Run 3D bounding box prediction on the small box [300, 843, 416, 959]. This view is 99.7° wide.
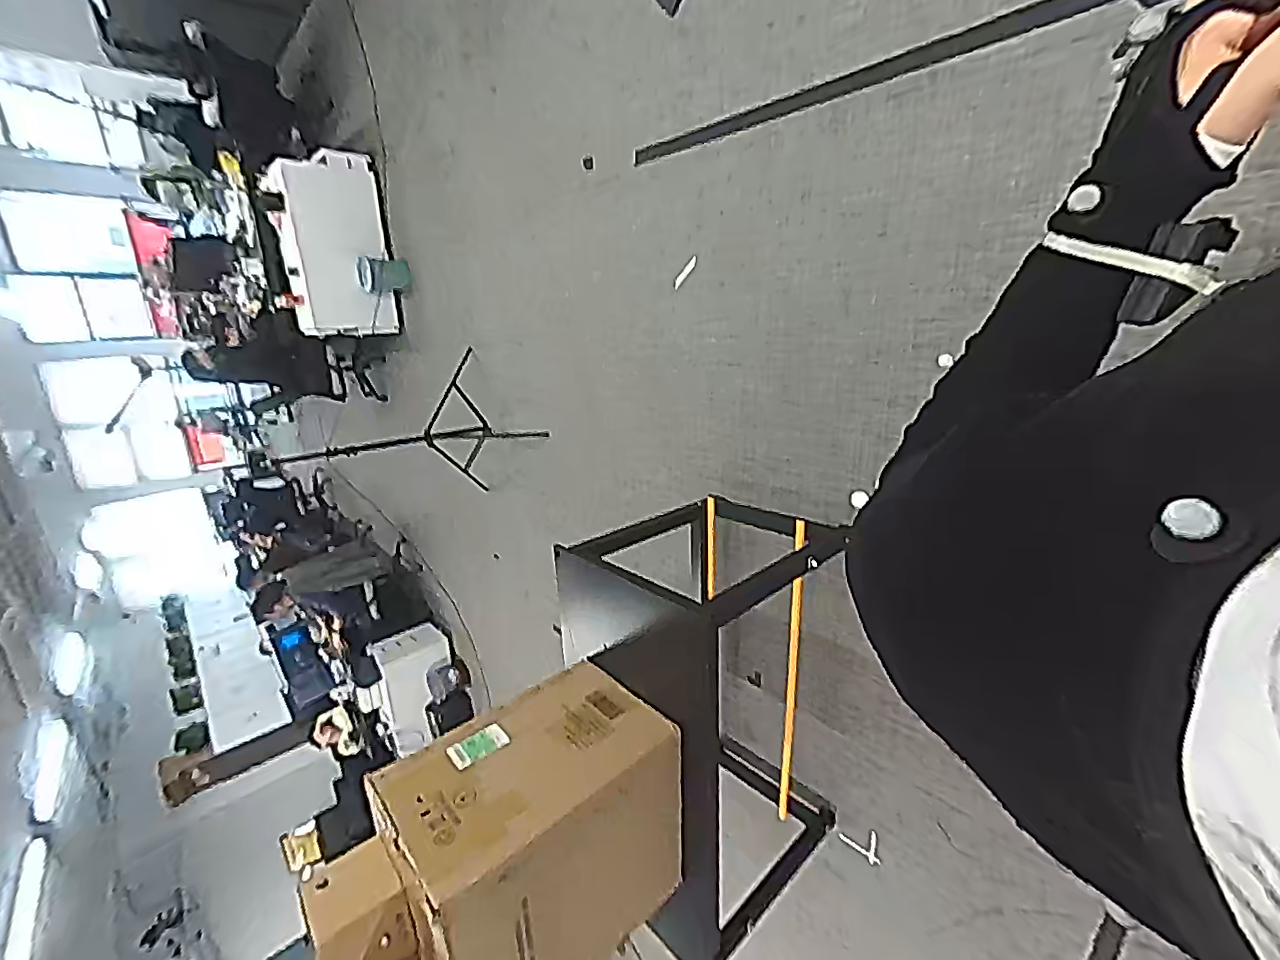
[{"bbox_3d":[-0.591,0.916,1.140,0.179,0.176,0.168,13,114,48],"label":"small box"}]
